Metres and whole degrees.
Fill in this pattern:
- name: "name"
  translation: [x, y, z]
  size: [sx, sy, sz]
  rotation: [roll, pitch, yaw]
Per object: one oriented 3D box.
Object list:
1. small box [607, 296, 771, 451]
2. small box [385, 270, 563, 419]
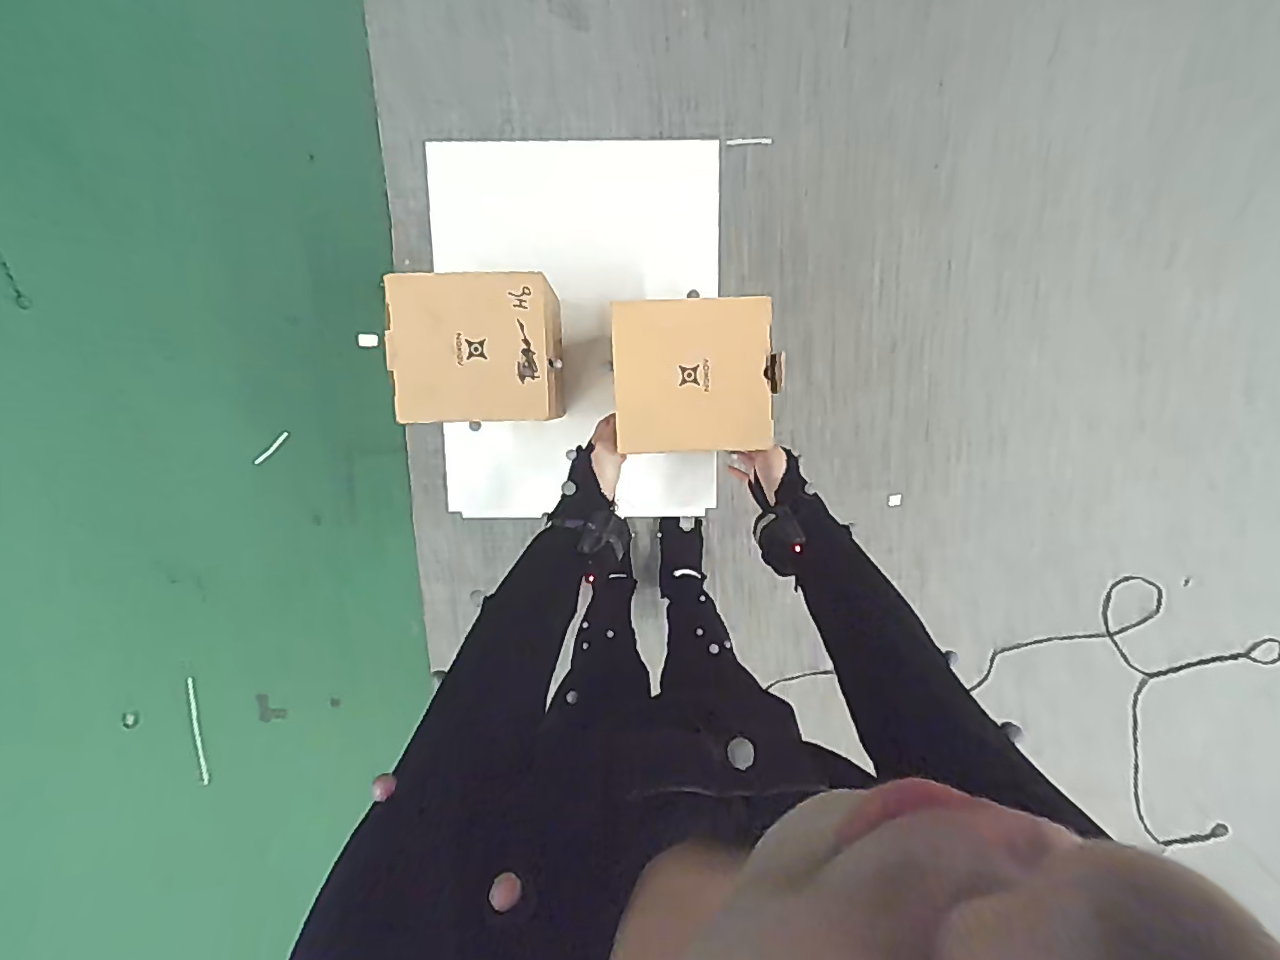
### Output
- name: "small box"
  translation: [0.051, -0.120, 0.662]
  size: [0.179, 0.176, 0.168]
  rotation: [-3, 95, -3]
- name: "small box"
  translation: [-0.195, -0.161, 0.684]
  size: [0.179, 0.176, 0.168]
  rotation: [-2, 98, -3]
